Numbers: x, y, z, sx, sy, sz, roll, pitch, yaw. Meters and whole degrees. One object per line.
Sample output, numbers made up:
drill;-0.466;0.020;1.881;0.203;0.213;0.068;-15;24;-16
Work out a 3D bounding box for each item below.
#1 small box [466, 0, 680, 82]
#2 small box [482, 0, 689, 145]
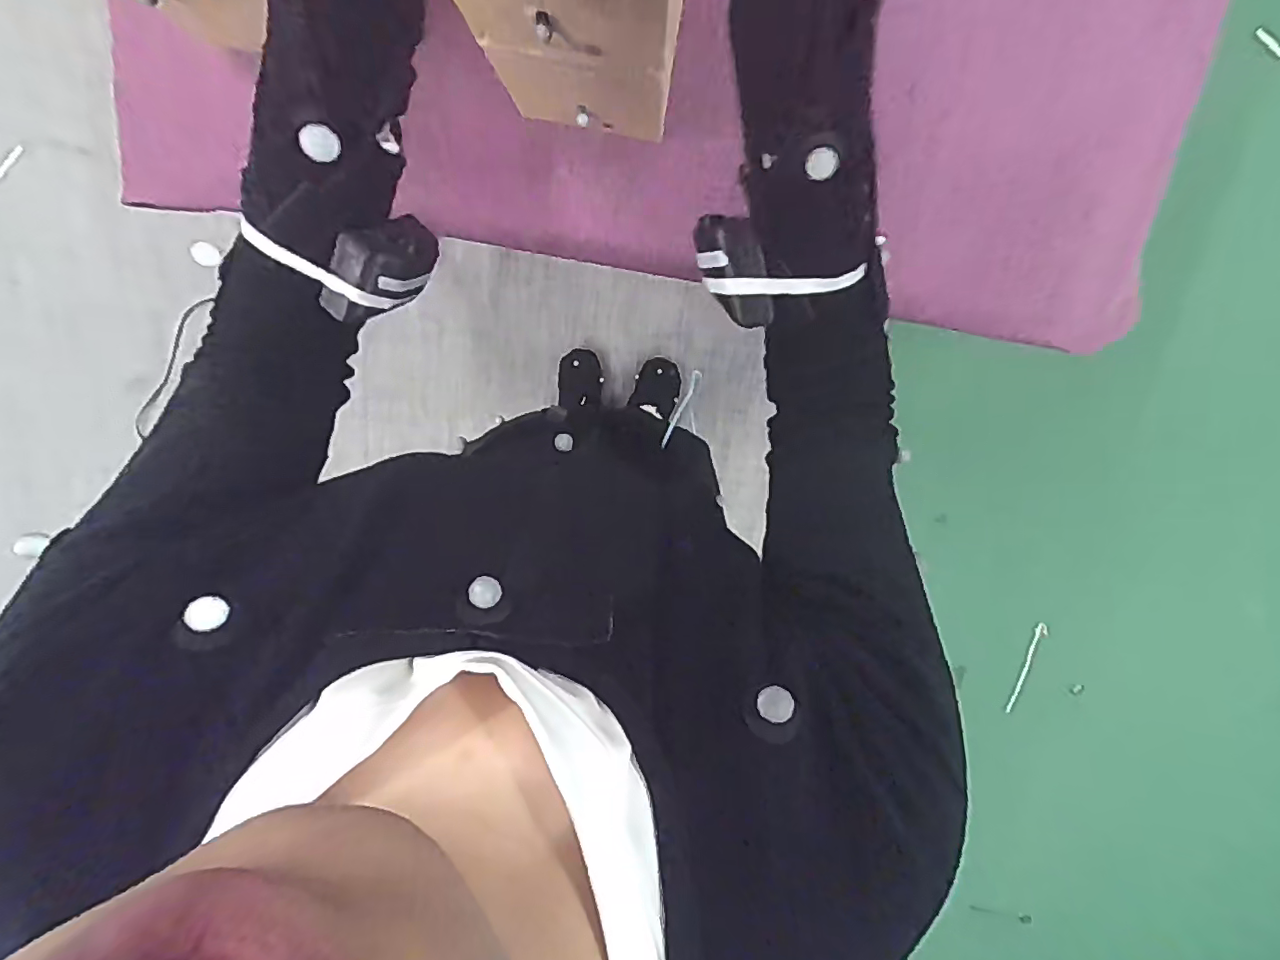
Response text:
small box;-0.043;-0.419;0.368;0.168;0.176;0.179;9;106;-2
small box;-0.040;-0.461;0.525;0.168;0.176;0.179;11;106;-1
